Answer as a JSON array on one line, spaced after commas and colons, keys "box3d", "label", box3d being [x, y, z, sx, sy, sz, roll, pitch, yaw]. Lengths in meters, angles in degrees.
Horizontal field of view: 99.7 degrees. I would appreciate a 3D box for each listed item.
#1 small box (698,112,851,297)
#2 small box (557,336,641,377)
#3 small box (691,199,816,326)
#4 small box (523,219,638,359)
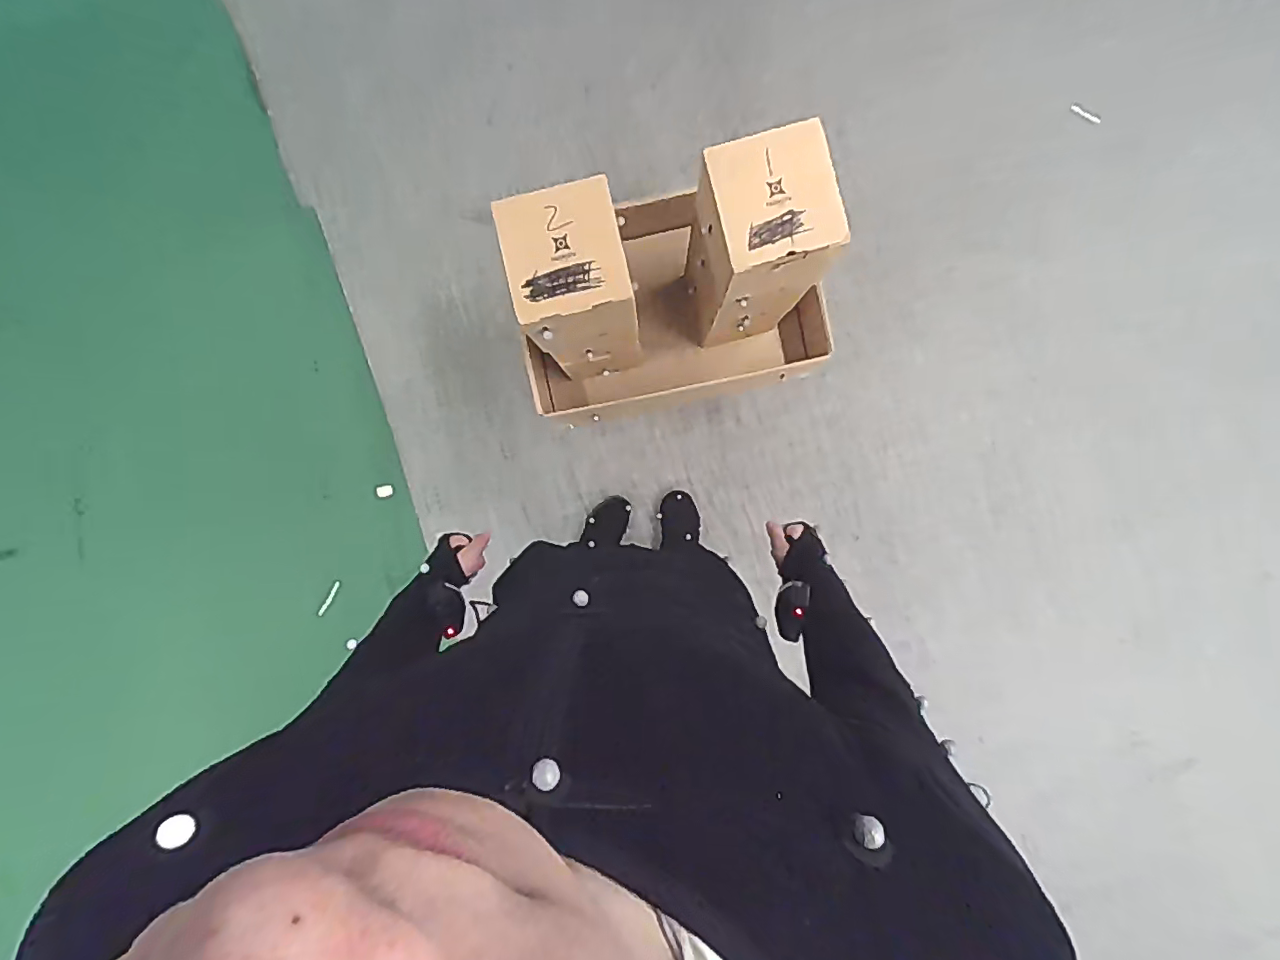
[{"box3d": [0.188, -0.388, 0.801, 0.168, 0.176, 0.179, -14, 90, 2], "label": "small box"}, {"box3d": [-0.095, -0.331, 1.132, 0.168, 0.176, 0.179, -12, 90, 2], "label": "small box"}, {"box3d": [0.191, -0.396, 0.965, 0.168, 0.176, 0.179, -14, 91, 2], "label": "small box"}, {"box3d": [-0.100, -0.332, 0.971, 0.168, 0.176, 0.179, -11, 91, 1], "label": "small box"}]
